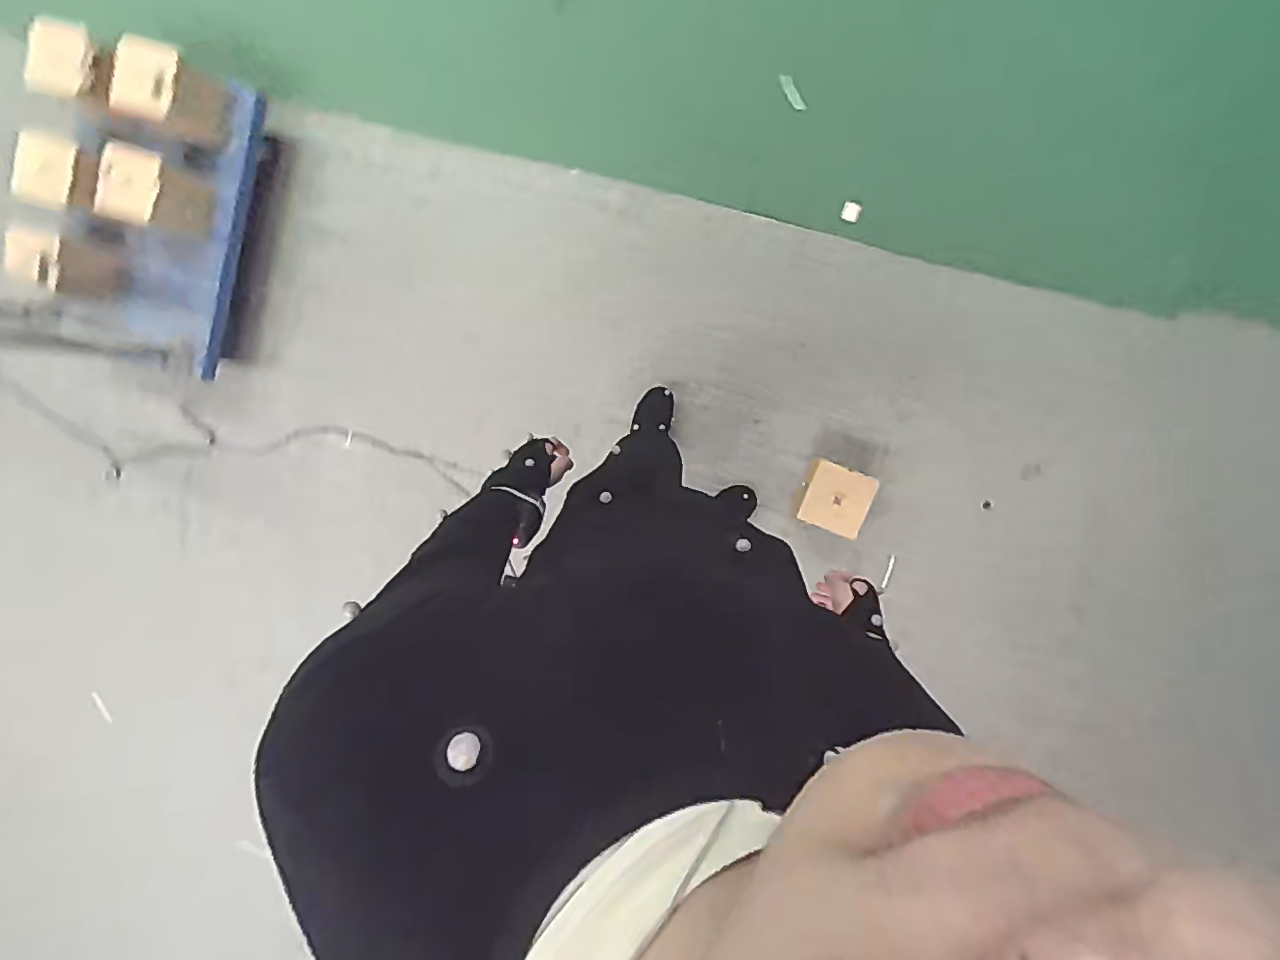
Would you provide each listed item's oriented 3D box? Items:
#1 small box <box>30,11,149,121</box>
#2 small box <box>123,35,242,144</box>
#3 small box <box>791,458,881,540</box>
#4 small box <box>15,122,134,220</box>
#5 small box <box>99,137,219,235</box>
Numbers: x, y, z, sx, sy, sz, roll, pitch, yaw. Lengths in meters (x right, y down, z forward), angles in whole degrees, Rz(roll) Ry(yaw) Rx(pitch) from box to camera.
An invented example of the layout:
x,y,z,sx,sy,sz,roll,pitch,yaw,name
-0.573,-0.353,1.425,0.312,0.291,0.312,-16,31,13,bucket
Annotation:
x,y,z,sx,sy,sz,roll,pitch,yaw,name
-1.497,-1.128,1.488,0.179,0.176,0.168,17,98,6,small box
-1.241,-1.058,1.478,0.179,0.176,0.168,17,96,6,small box
0.537,0.045,1.509,0.168,0.176,0.179,23,97,6,small box
-1.575,-0.861,1.524,0.179,0.176,0.168,18,97,4,small box
-1.319,-0.801,1.494,0.179,0.176,0.168,19,97,5,small box
